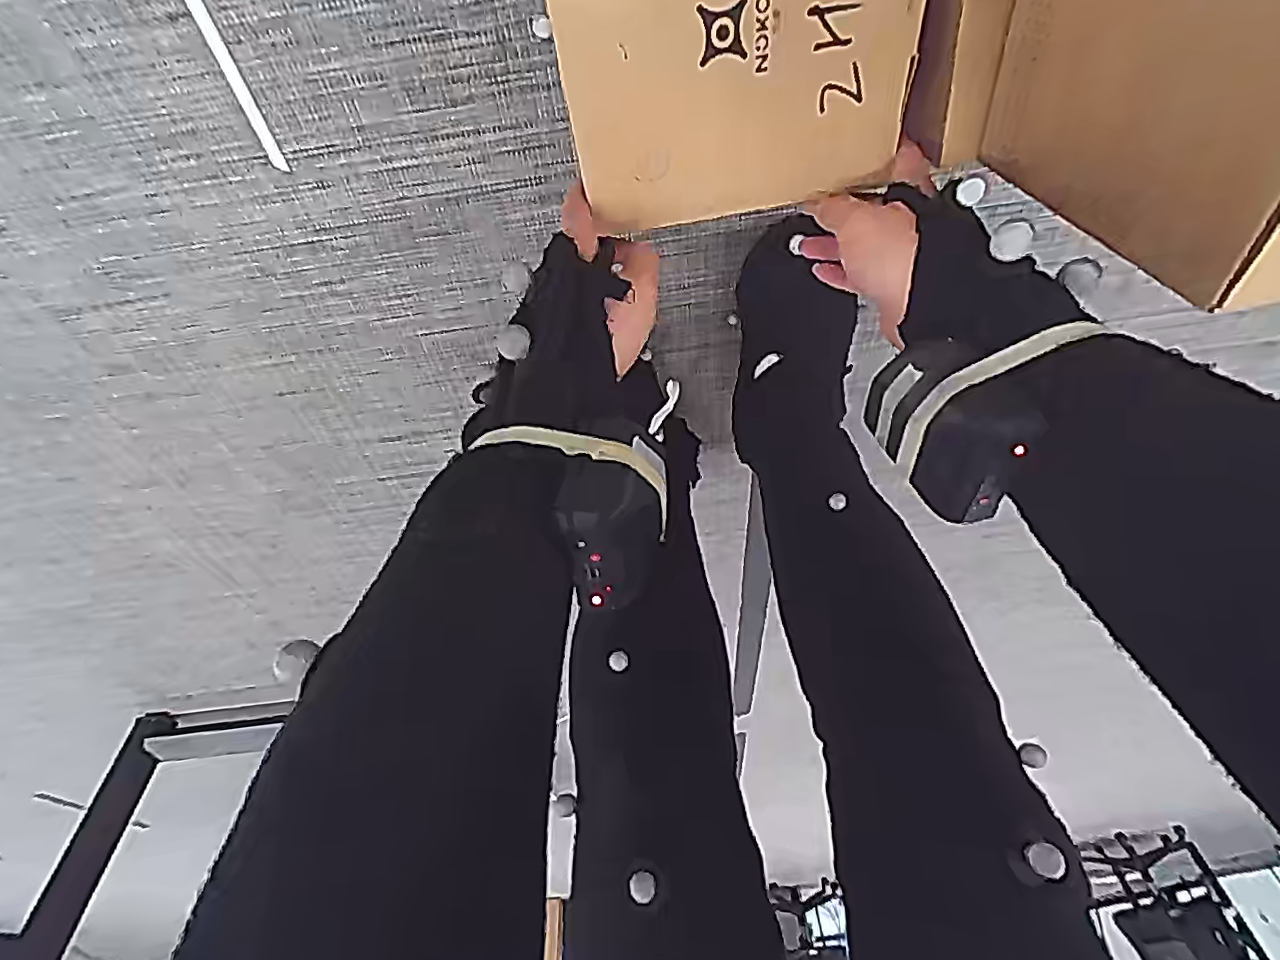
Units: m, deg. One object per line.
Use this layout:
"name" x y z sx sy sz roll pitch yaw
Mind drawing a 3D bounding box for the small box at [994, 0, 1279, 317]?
"small box" 0.257 -0.187 0.179 0.168 0.176 0.179 -11 136 5
